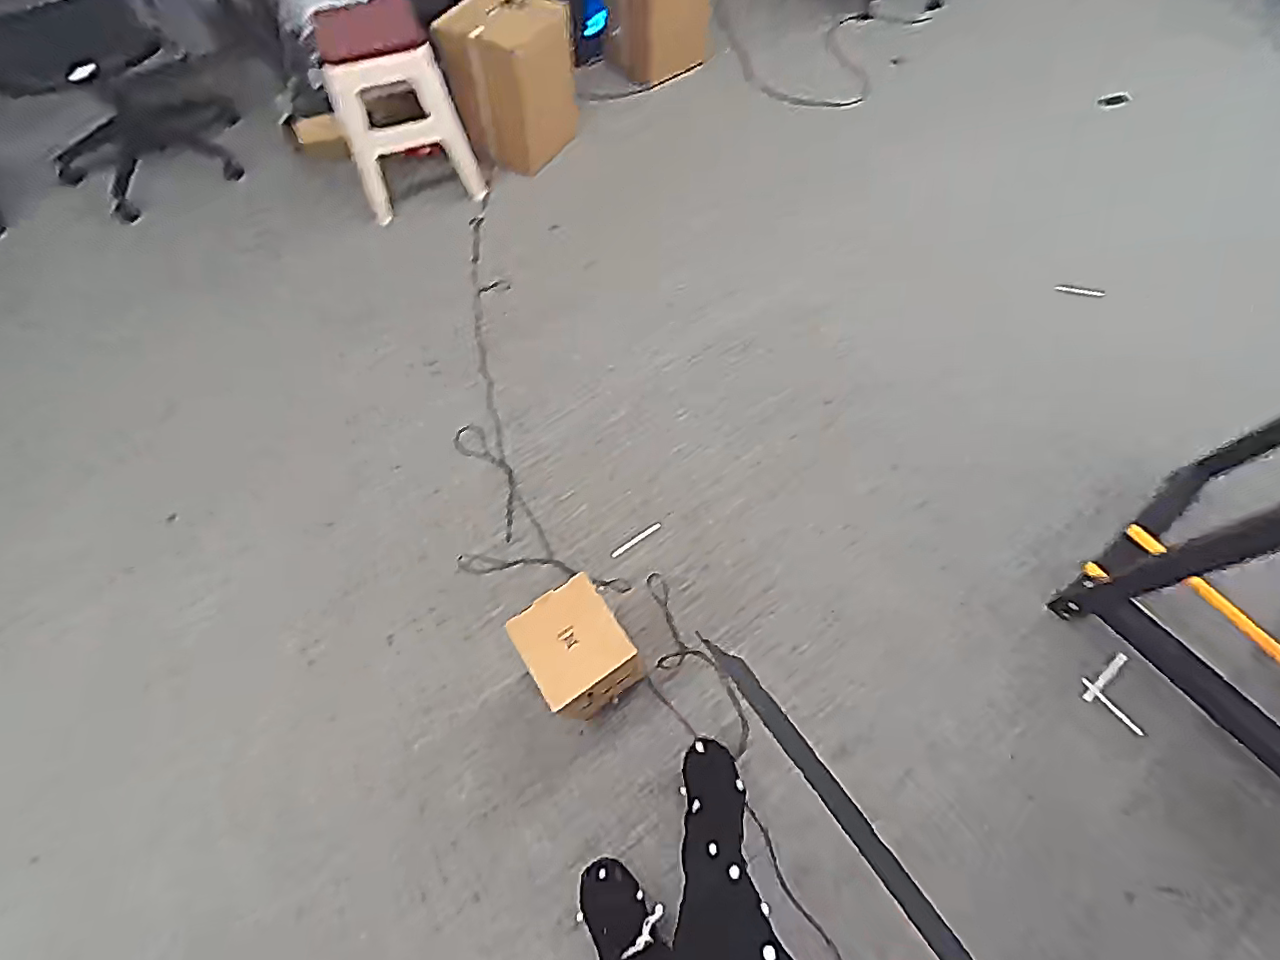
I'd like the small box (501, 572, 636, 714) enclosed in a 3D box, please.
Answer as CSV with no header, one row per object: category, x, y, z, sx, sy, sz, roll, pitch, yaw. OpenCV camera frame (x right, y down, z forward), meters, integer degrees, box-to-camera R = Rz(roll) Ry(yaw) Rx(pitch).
small box,-0.119,0.299,0.977,0.168,0.176,0.179,-33,67,-13

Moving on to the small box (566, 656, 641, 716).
small box,-0.112,0.369,1.123,0.168,0.176,0.179,-33,68,-13
